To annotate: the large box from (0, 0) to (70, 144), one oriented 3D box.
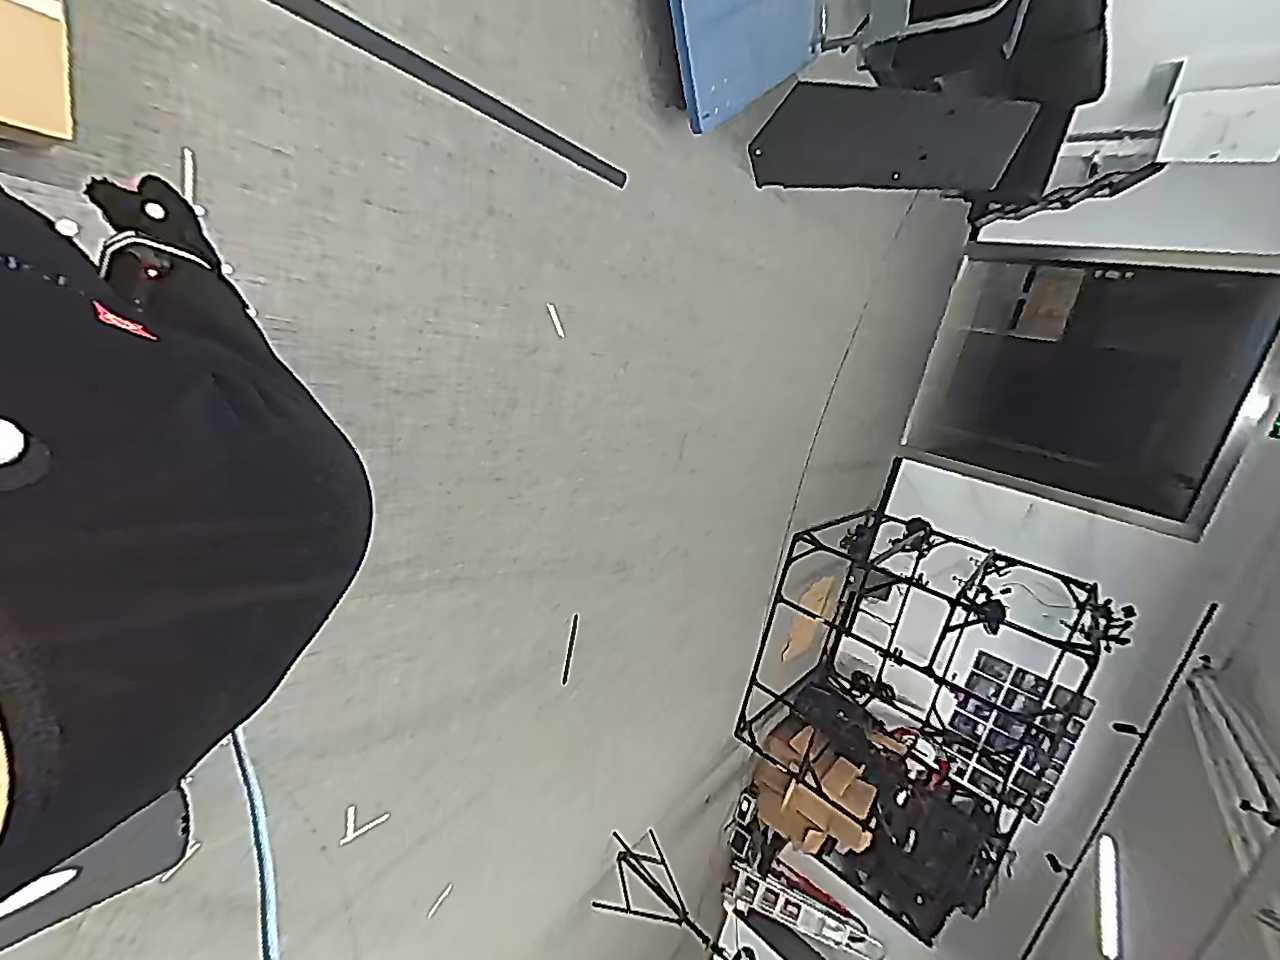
[{"bbox_3d":[-1.023,-0.657,0.660,0.408,0.320,0.320,-9,116,-52],"label":"large box"}]
